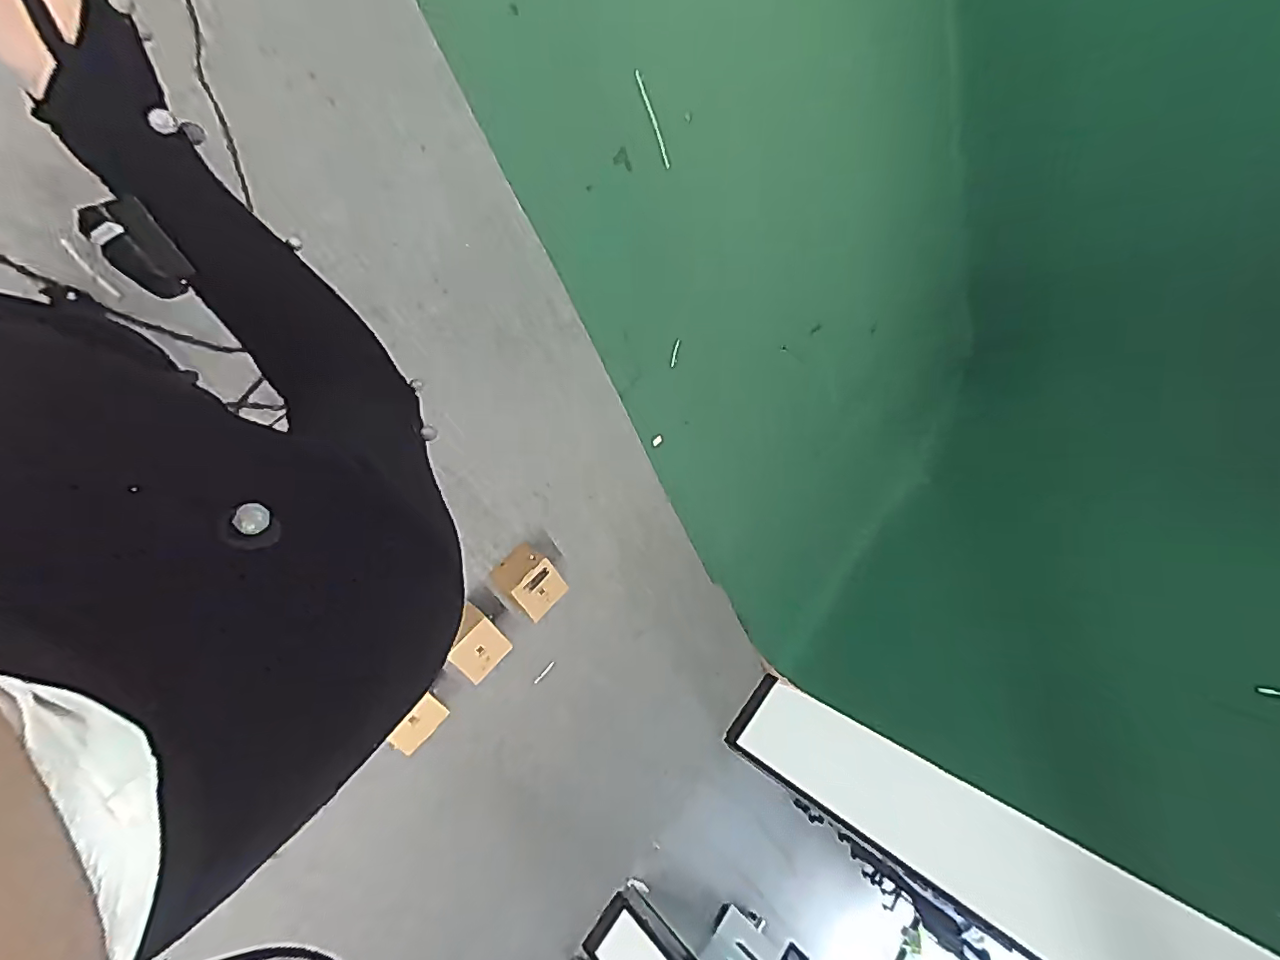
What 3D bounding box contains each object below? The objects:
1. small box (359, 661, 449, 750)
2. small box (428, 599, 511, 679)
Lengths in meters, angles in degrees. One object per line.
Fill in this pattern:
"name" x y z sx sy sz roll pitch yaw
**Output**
"small box" -0.743 0.696 1.694 0.168 0.176 0.179 -46 129 -24
"small box" -0.570 0.519 1.796 0.168 0.176 0.179 -45 128 -23
